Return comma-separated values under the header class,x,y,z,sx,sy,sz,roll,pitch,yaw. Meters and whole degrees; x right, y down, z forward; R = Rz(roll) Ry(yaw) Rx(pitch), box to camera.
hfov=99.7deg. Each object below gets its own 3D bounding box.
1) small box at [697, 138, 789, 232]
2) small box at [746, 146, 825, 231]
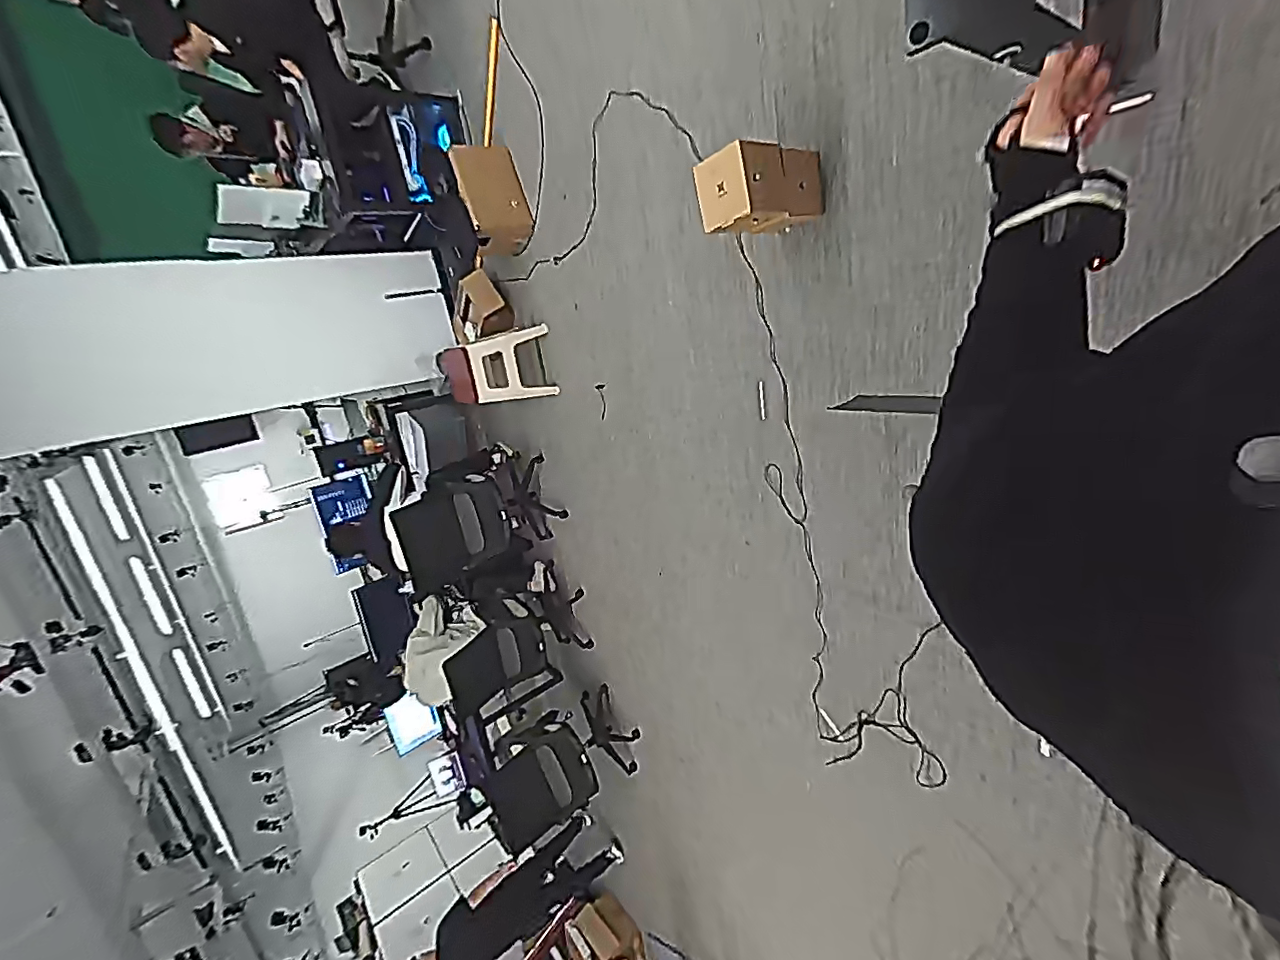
class,x,y,z,sx,sy,sz,roll,pitch,yaw
small box,0.282,-0.787,1.456,0.168,0.176,0.179,2,107,52
small box,0.409,-0.827,1.549,0.168,0.176,0.179,7,113,52
